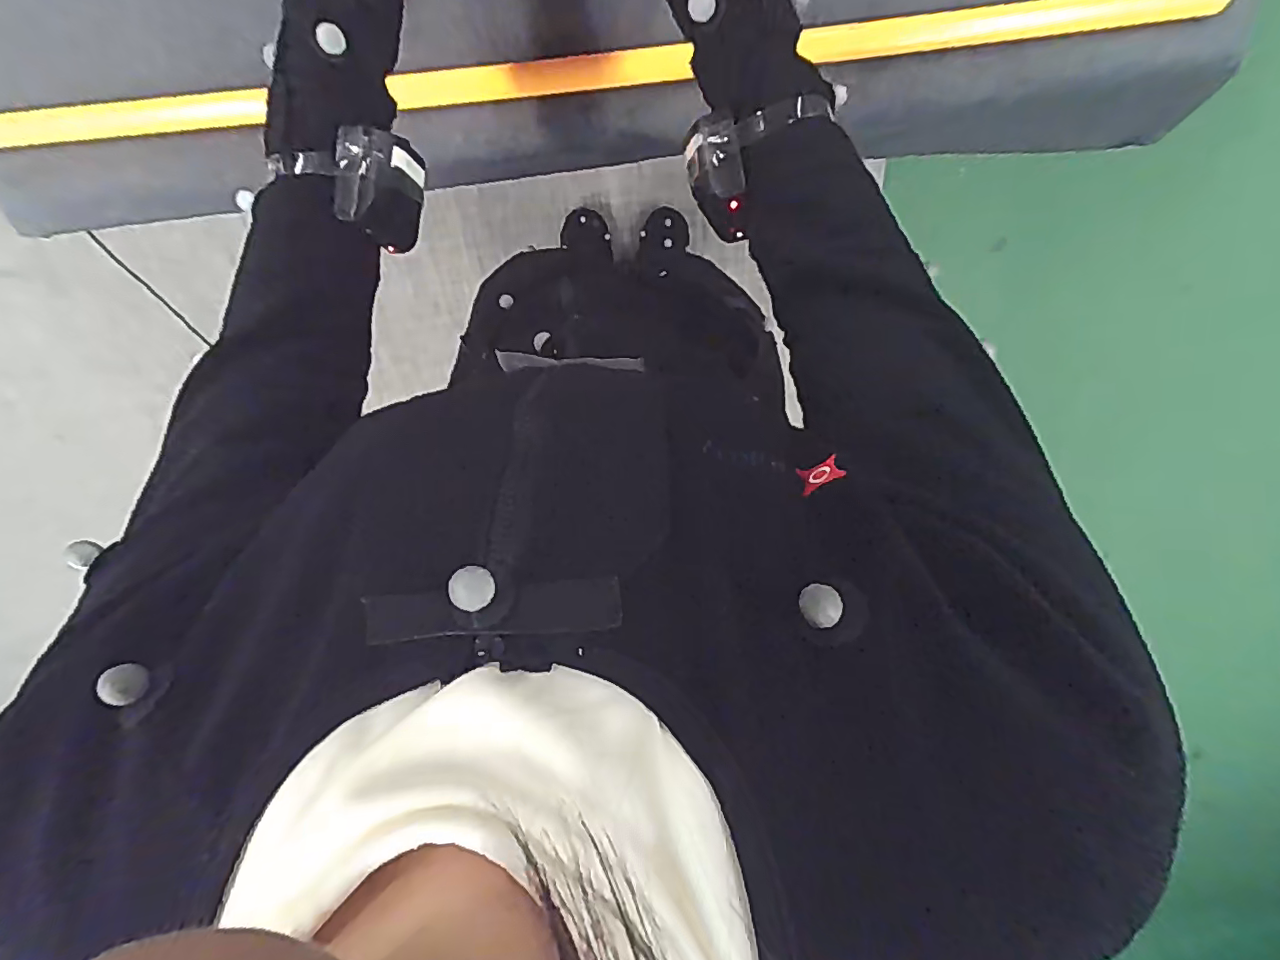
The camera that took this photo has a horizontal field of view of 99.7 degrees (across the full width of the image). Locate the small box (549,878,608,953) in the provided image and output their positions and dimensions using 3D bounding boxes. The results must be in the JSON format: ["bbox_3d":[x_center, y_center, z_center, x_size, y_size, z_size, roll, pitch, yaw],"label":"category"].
[{"bbox_3d":[-0.212,1.555,1.924,0.168,0.176,0.179,-12,120,4],"label":"small box"}]

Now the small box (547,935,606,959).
[{"bbox_3d":[-0.208,1.642,1.784,0.168,0.176,0.179,-12,120,4],"label":"small box"}]
